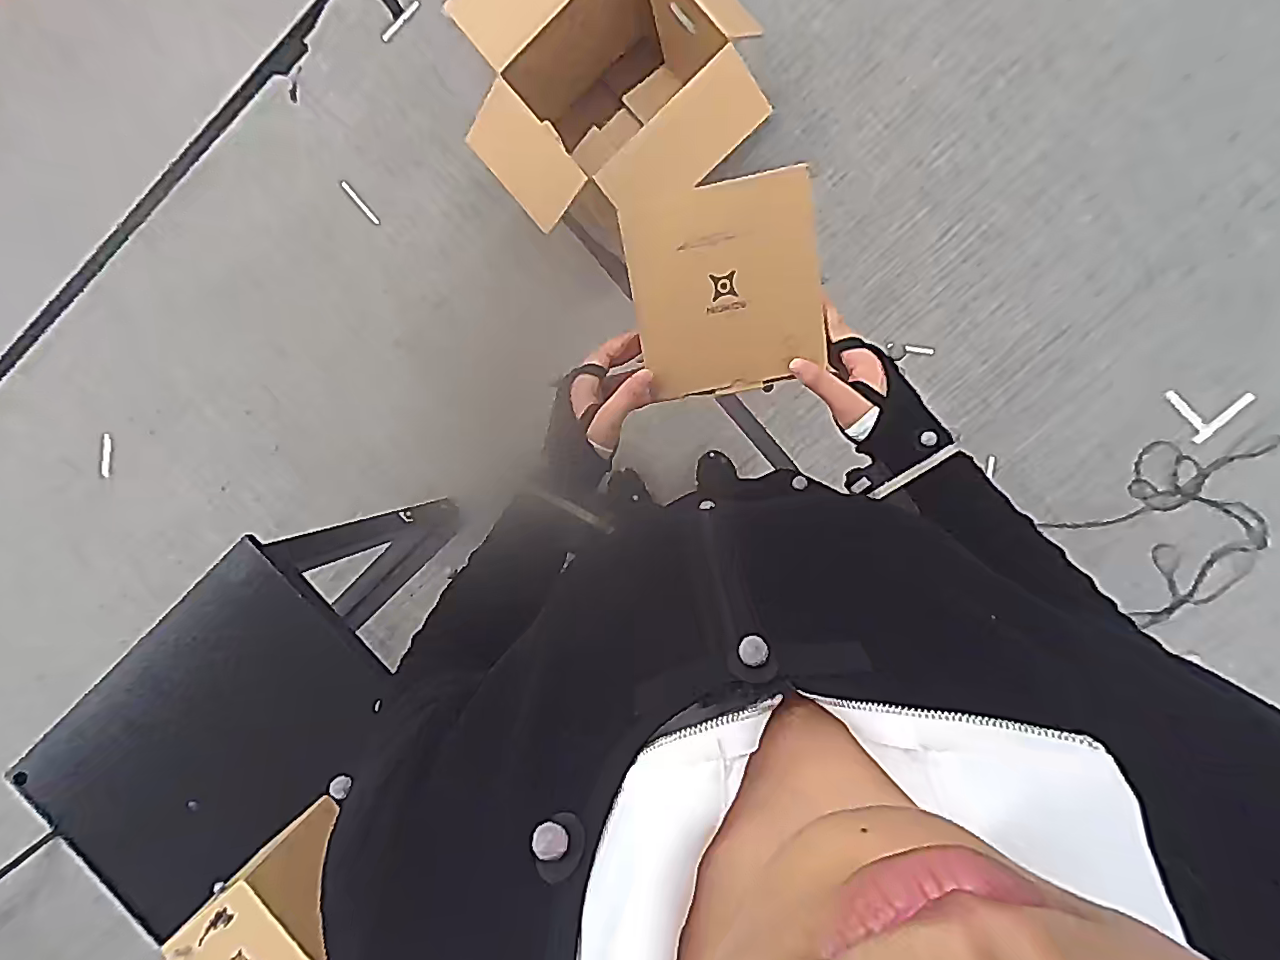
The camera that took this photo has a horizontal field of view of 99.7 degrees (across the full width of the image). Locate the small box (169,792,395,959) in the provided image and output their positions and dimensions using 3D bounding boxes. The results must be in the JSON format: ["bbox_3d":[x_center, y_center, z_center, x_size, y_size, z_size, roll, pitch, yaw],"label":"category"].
[{"bbox_3d":[-0.501,0.607,0.785,0.168,0.176,0.179,-40,91,7],"label":"small box"}]

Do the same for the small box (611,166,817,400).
[{"bbox_3d":[0.075,-0.191,0.562,0.168,0.176,0.179,-10,103,7],"label":"small box"}]
